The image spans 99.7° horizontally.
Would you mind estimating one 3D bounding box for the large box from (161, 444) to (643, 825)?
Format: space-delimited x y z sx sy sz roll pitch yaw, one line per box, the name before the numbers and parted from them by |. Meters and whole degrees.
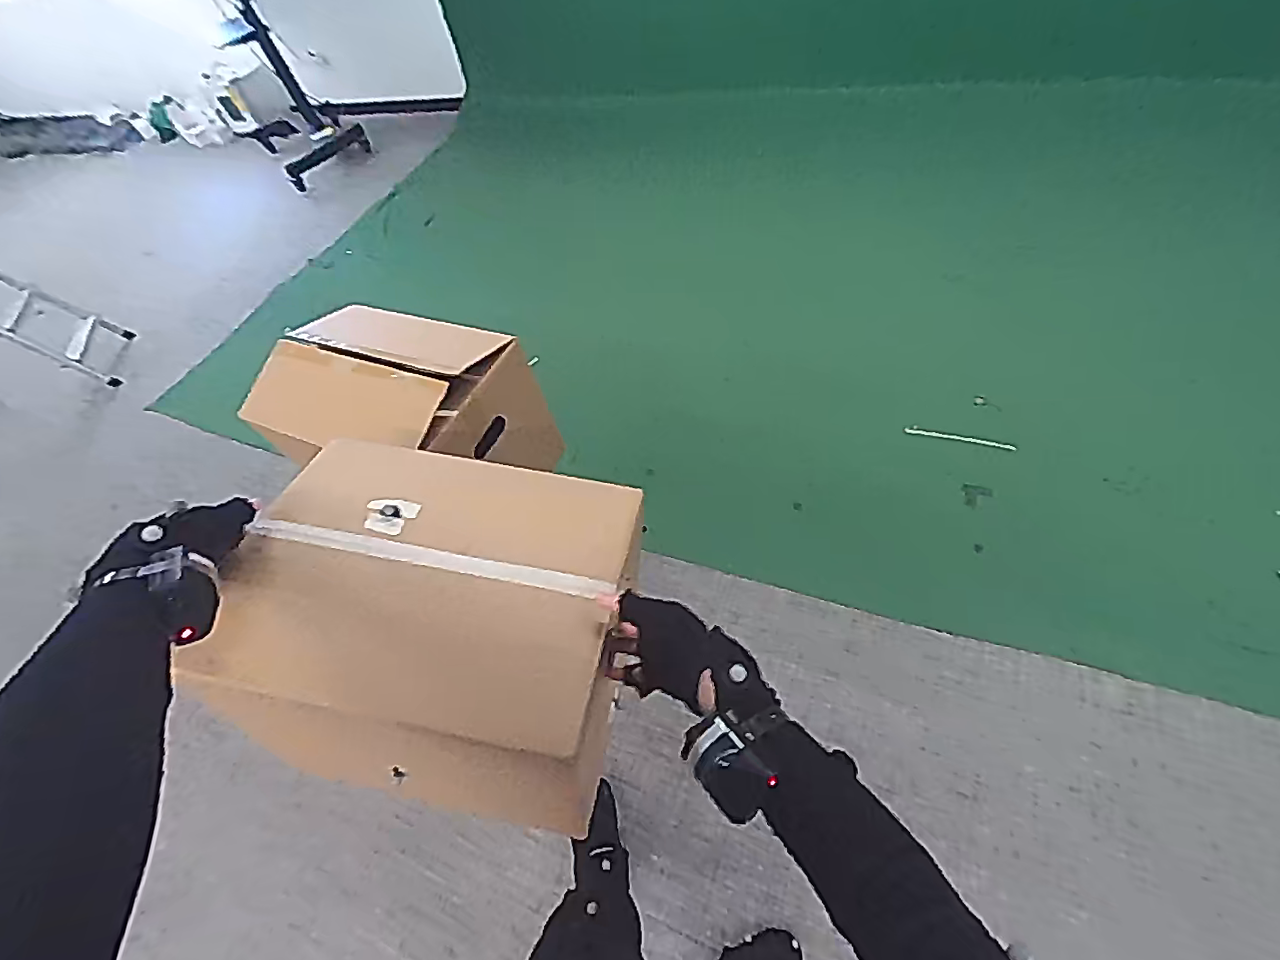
large box | -0.219 0.192 0.680 0.408 0.320 0.320 9 46 7
